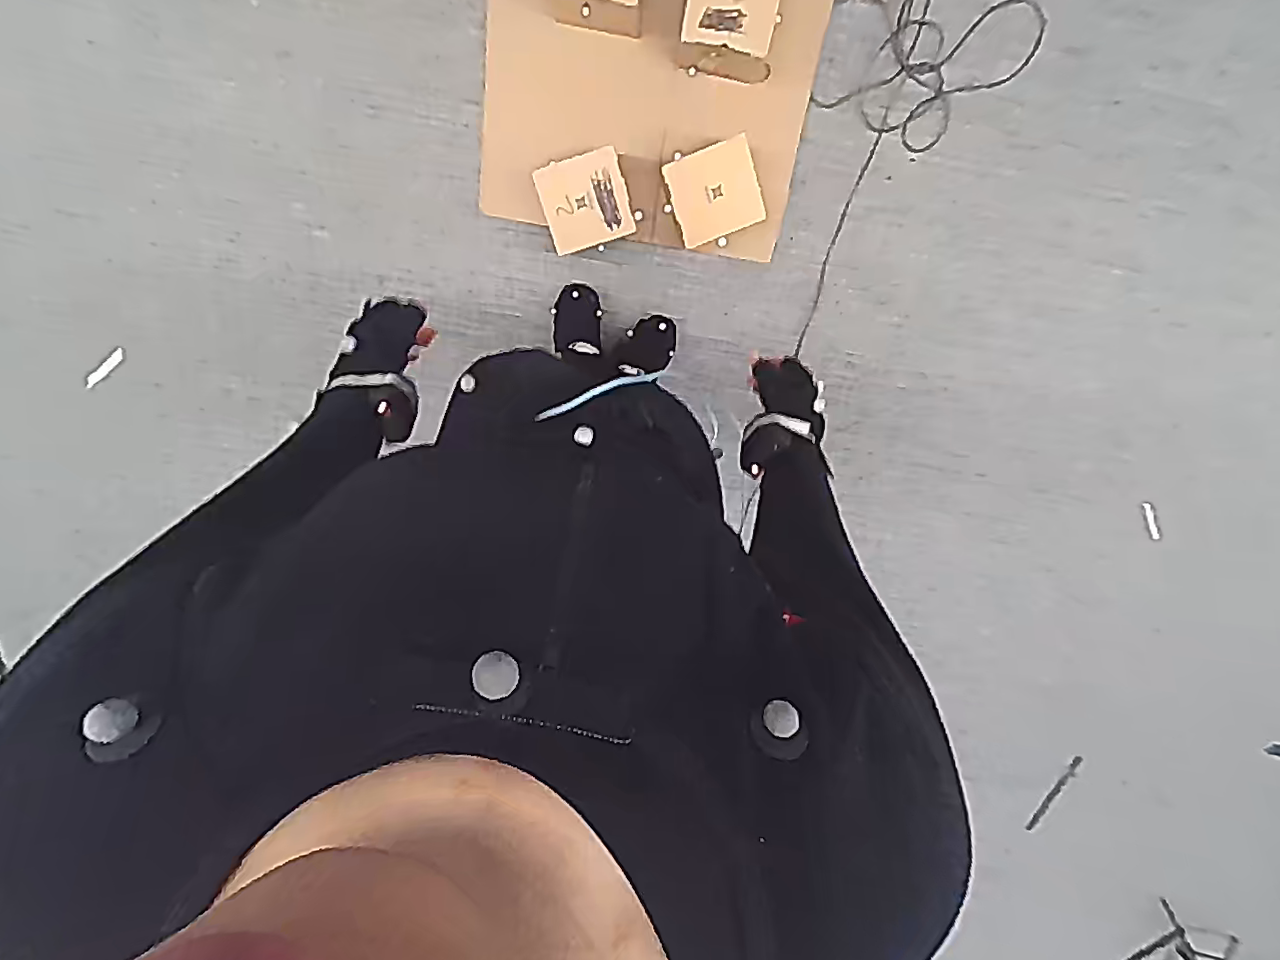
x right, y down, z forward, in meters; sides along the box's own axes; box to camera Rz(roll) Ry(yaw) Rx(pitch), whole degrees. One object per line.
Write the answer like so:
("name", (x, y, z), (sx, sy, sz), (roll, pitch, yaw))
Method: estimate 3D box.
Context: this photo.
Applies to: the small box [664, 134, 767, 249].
("small box", (0.157, -0.617, 1.172), (0.179, 0.176, 0.168), (-18, 111, 10))
